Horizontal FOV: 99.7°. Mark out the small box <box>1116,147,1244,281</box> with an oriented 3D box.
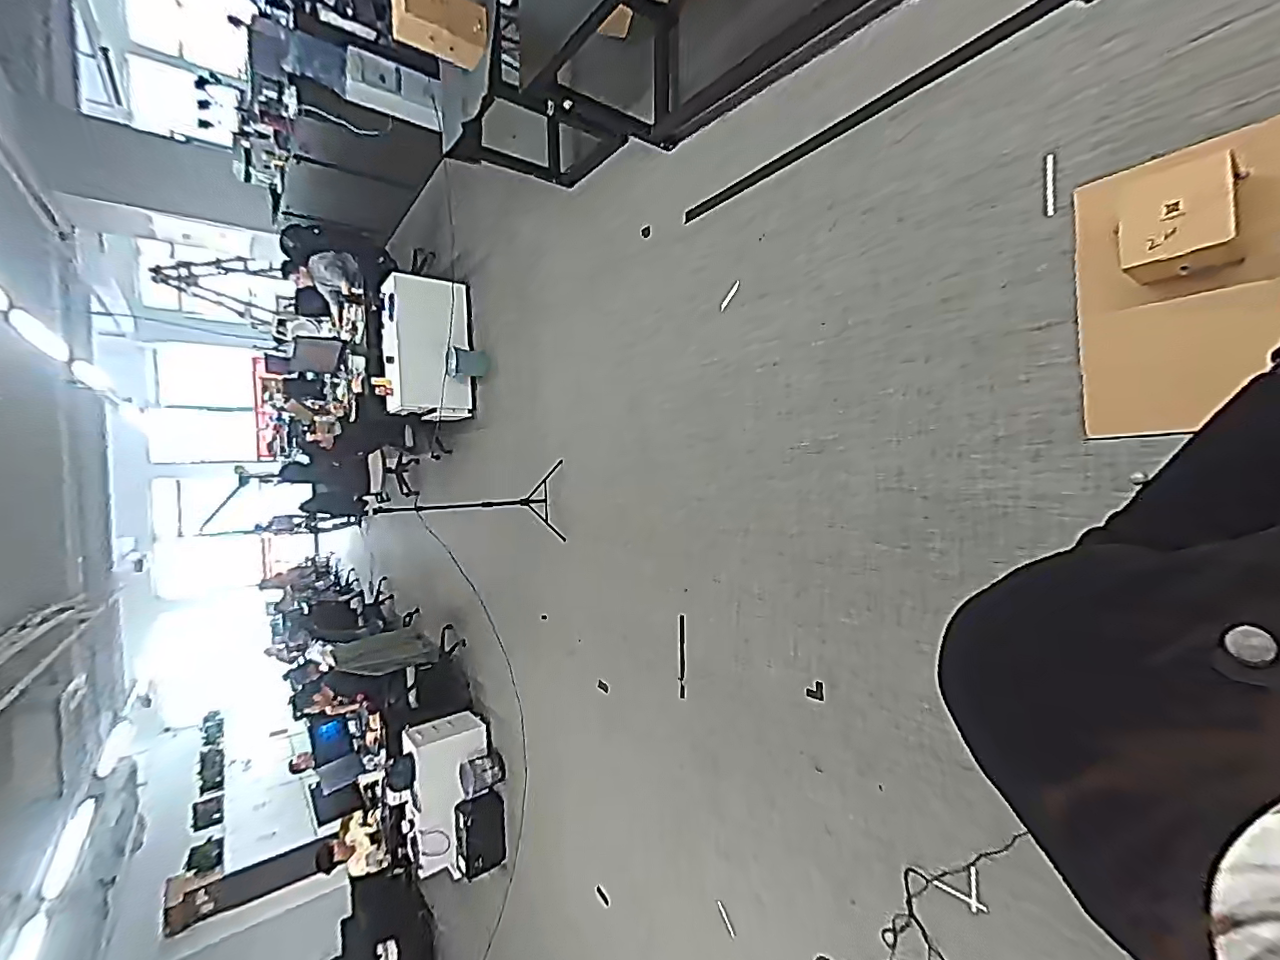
[{"bbox_3d":[1.105,-0.531,1.108,0.168,0.176,0.179,-3,90,53],"label":"small box"}]
